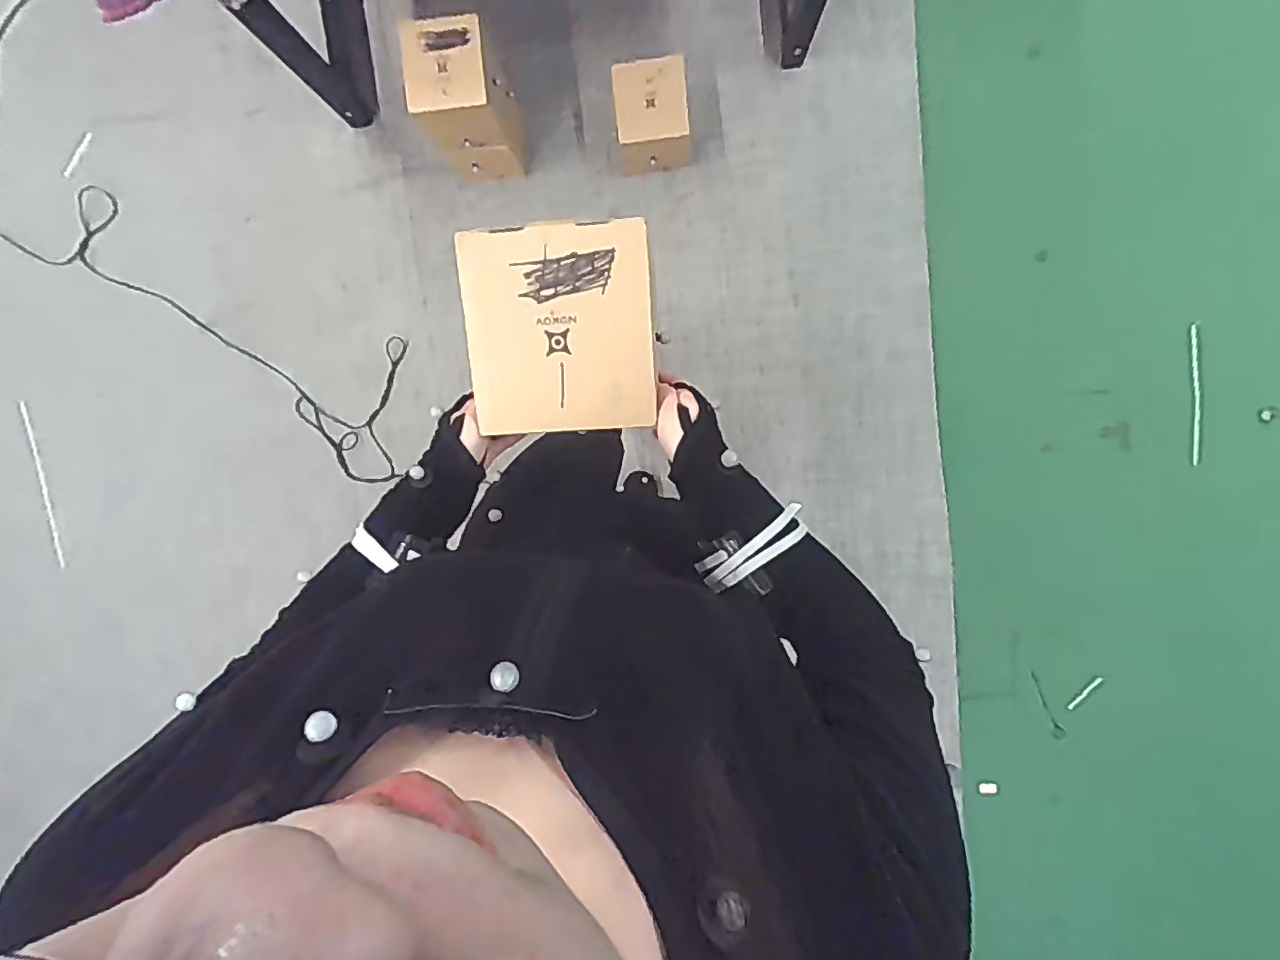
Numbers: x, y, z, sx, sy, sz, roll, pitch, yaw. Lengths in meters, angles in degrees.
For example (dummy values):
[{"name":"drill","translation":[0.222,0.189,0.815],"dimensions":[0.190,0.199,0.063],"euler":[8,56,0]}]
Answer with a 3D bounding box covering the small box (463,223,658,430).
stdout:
[{"name":"small box","translation":[-0.067,-0.151,0.562],"dimensions":[0.168,0.176,0.179],"euler":[-2,104,4]}]
